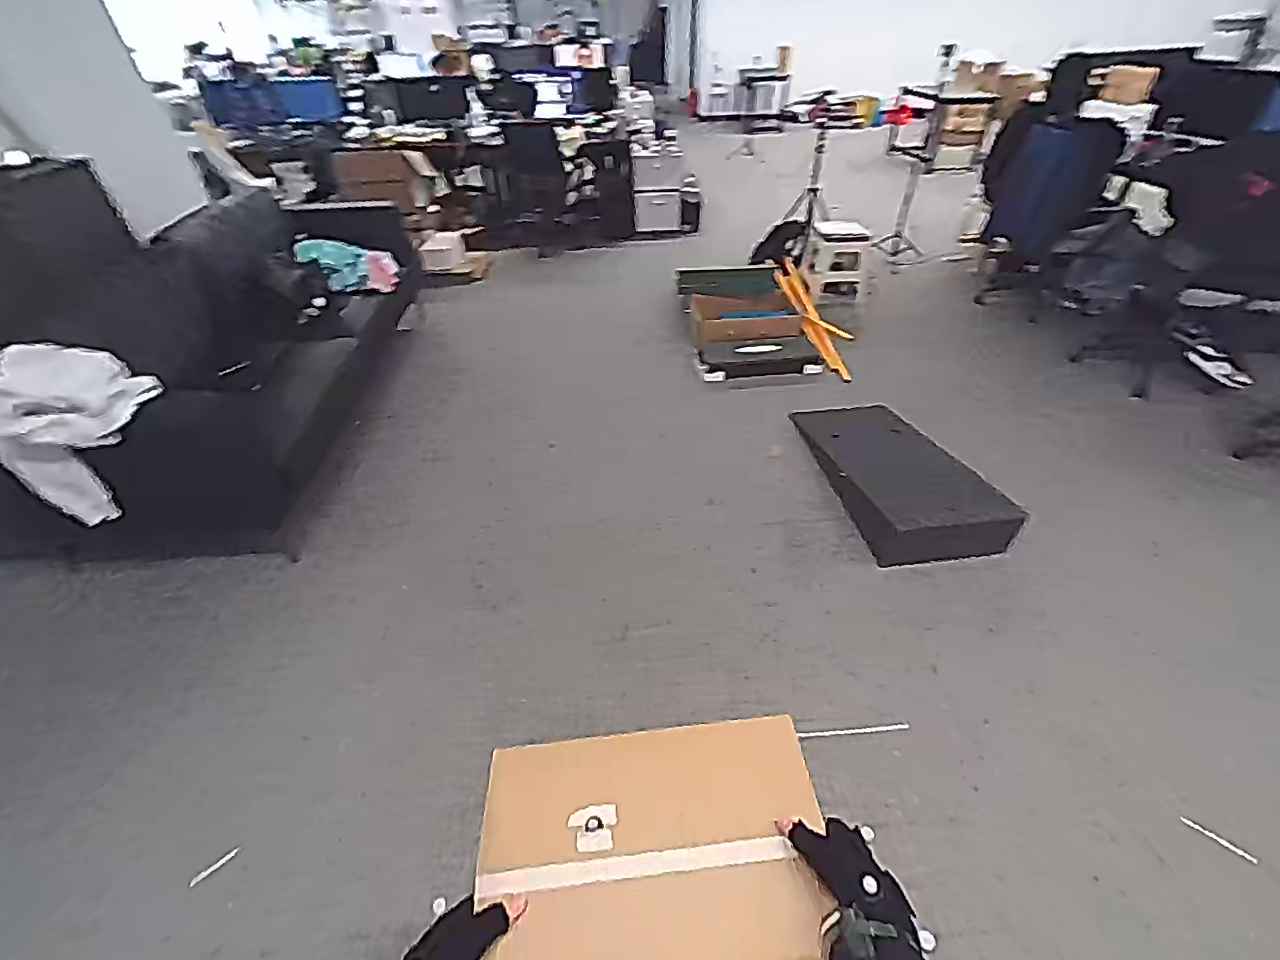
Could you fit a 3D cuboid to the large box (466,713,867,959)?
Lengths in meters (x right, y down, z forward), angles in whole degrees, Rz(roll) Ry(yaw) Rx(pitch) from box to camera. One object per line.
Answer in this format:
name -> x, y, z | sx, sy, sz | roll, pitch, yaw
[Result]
large box -> 0.031, 0.544, 0.688 | 0.408, 0.320, 0.320 | -8, 38, 0
